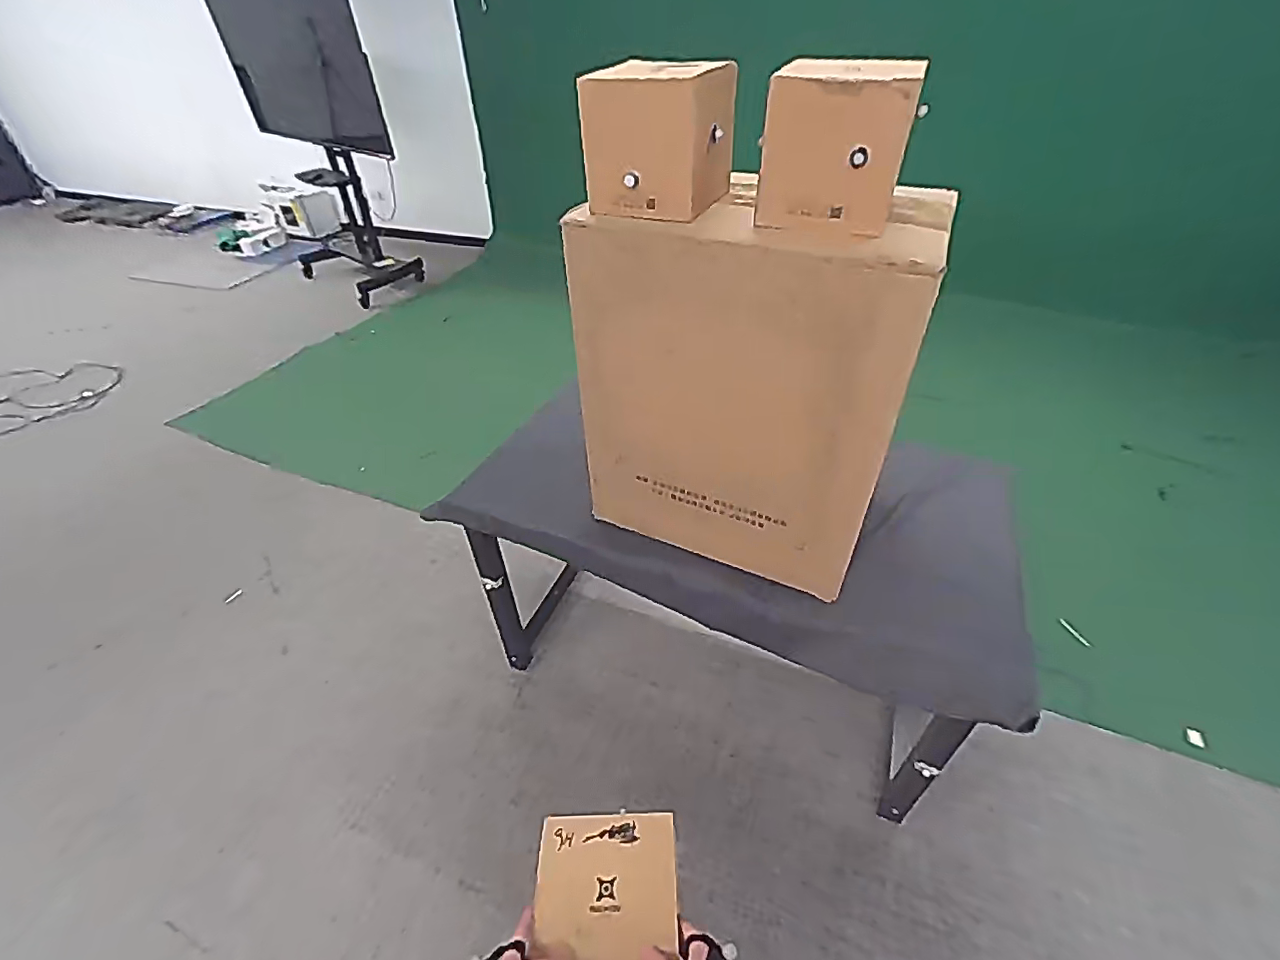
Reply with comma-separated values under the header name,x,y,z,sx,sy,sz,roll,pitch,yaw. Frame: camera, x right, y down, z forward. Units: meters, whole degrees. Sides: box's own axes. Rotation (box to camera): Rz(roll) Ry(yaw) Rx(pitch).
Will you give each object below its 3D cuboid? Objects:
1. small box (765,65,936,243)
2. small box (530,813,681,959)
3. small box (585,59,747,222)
name,x,y,z,sx,sy,sz,roll,pitch,yaw
small box,0.269,-0.429,0.710,0.168,0.176,0.179,16,45,15
small box,-0.036,0.551,0.681,0.168,0.176,0.179,-5,39,0
small box,0.040,-0.490,0.776,0.168,0.176,0.179,18,46,22
